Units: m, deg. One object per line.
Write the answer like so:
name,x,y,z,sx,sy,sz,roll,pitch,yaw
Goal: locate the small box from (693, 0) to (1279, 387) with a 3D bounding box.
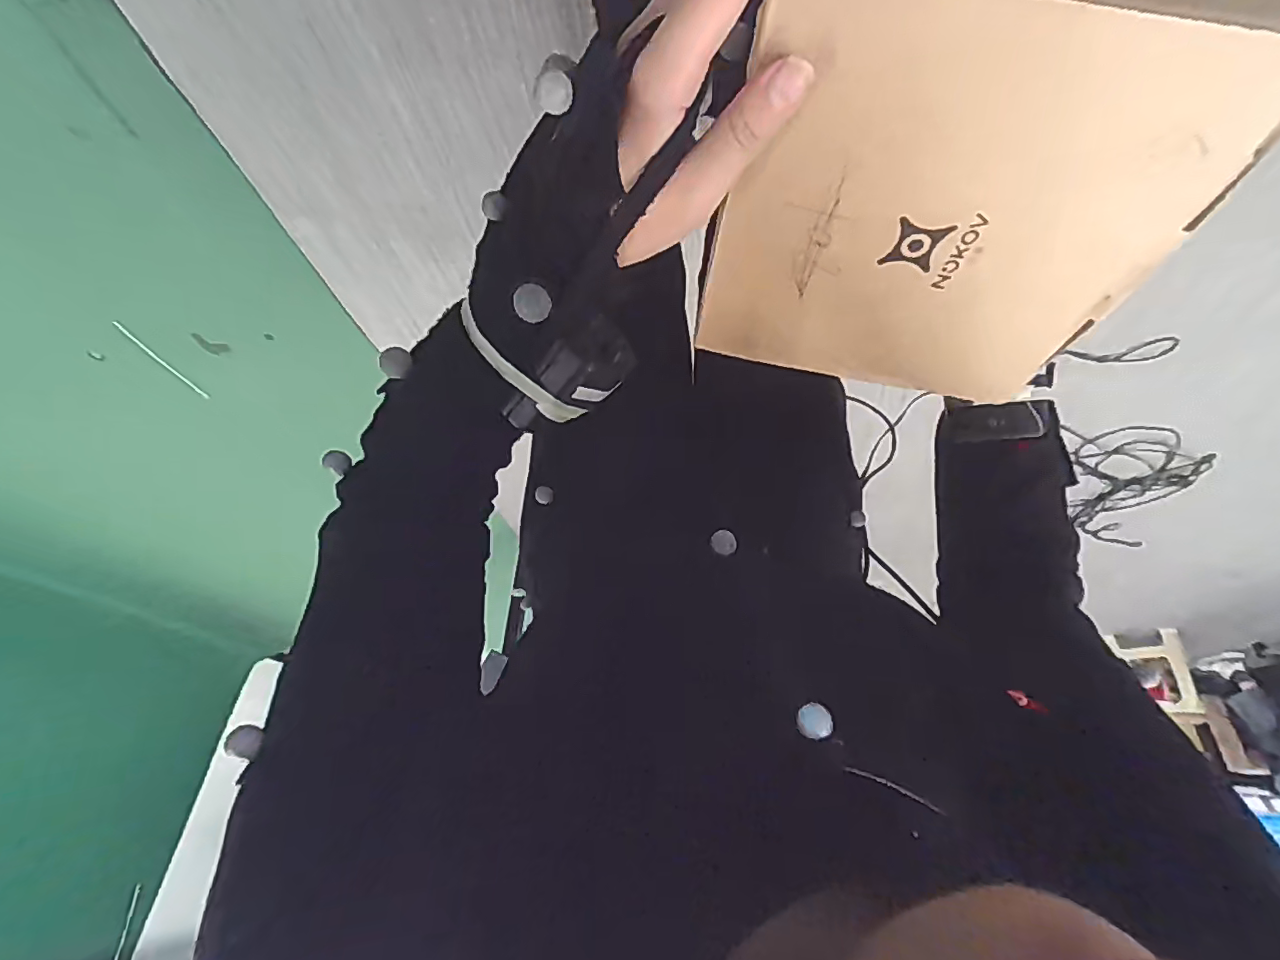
small box,0.134,-0.176,0.273,0.179,0.176,0.168,12,149,4
